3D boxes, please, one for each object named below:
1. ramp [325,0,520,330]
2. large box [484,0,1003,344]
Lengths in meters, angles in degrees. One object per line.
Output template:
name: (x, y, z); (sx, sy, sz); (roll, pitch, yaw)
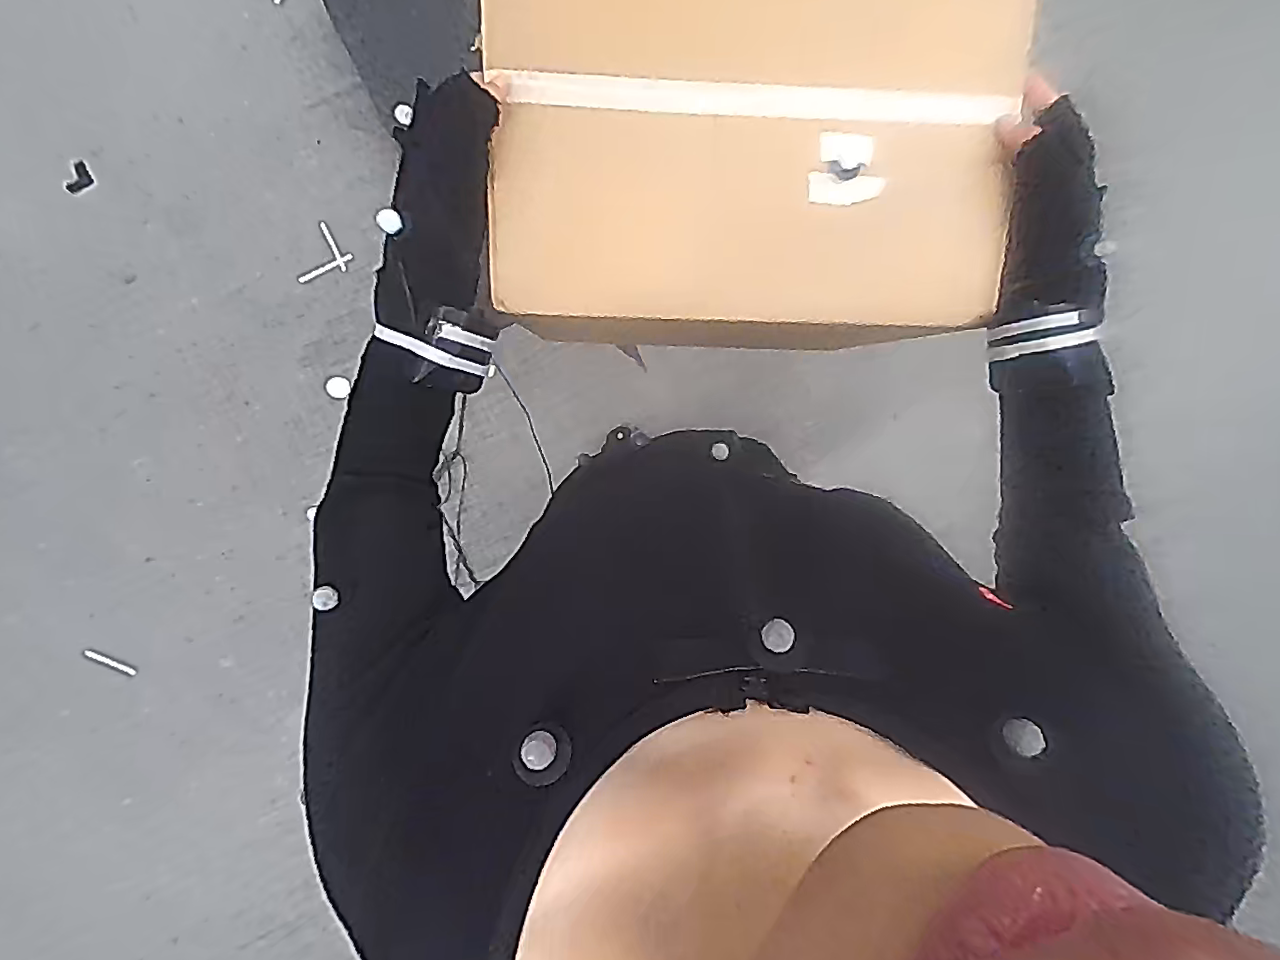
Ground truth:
ramp: (-0.388, -0.946, 1.366); (0.509, 0.206, 0.991); (-27, 92, -2)
large box: (0.072, -0.315, 0.567); (0.408, 0.320, 0.320); (0, 100, -4)
